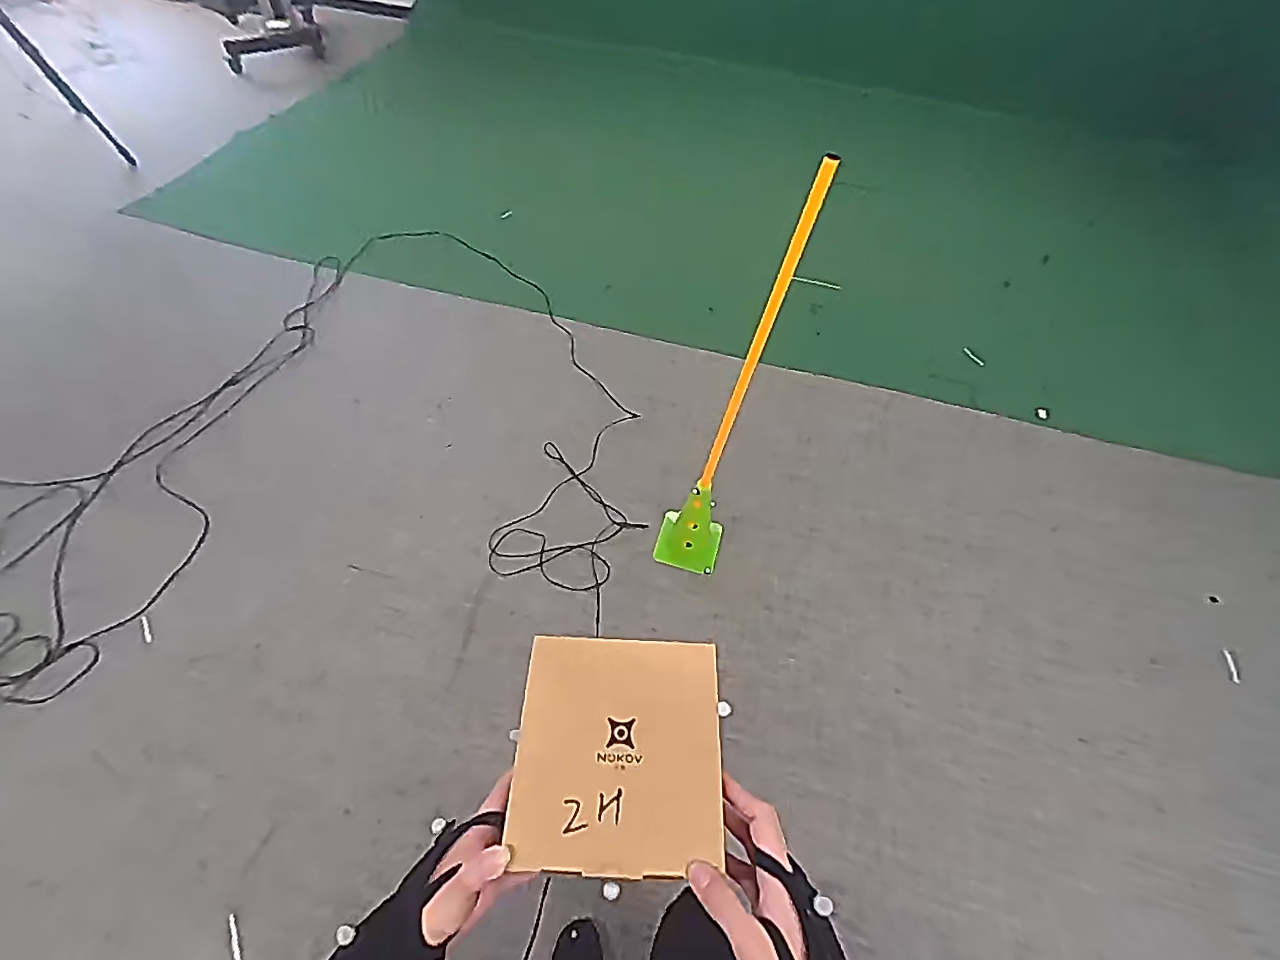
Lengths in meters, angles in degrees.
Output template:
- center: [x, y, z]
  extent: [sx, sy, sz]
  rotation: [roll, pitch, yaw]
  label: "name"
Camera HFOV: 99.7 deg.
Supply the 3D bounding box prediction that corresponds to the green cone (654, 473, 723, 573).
- center: [0.167, 0.099, 1.638]
  extent: [0.202, 0.368, 0.200]
  rotation: [14, 55, 7]
  label: "green cone"
